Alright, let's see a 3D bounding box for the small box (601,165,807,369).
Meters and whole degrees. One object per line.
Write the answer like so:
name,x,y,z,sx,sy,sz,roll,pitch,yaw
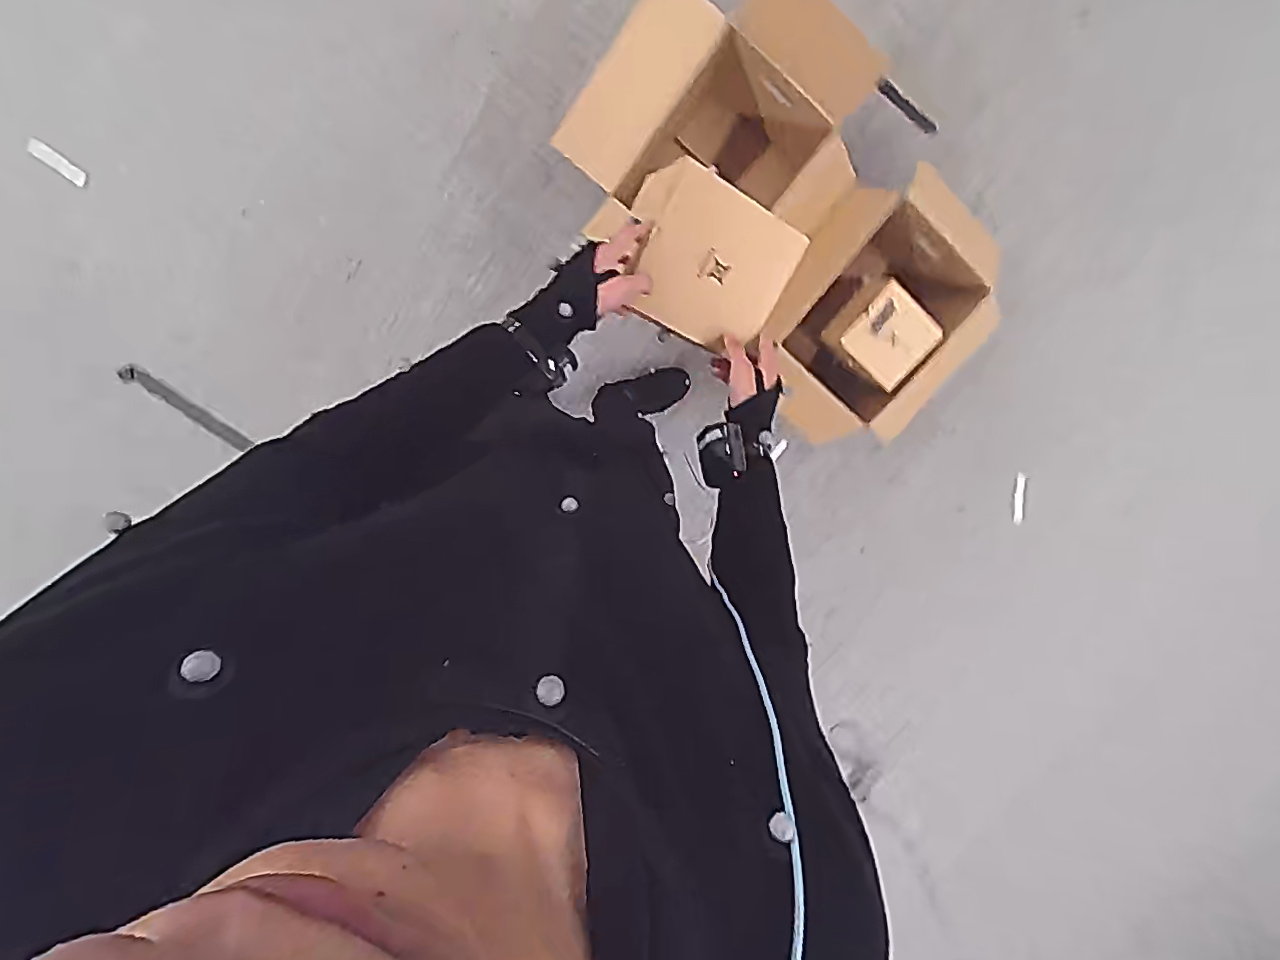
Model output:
small box,0.068,-0.266,0.688,0.179,0.176,0.168,22,106,-20
